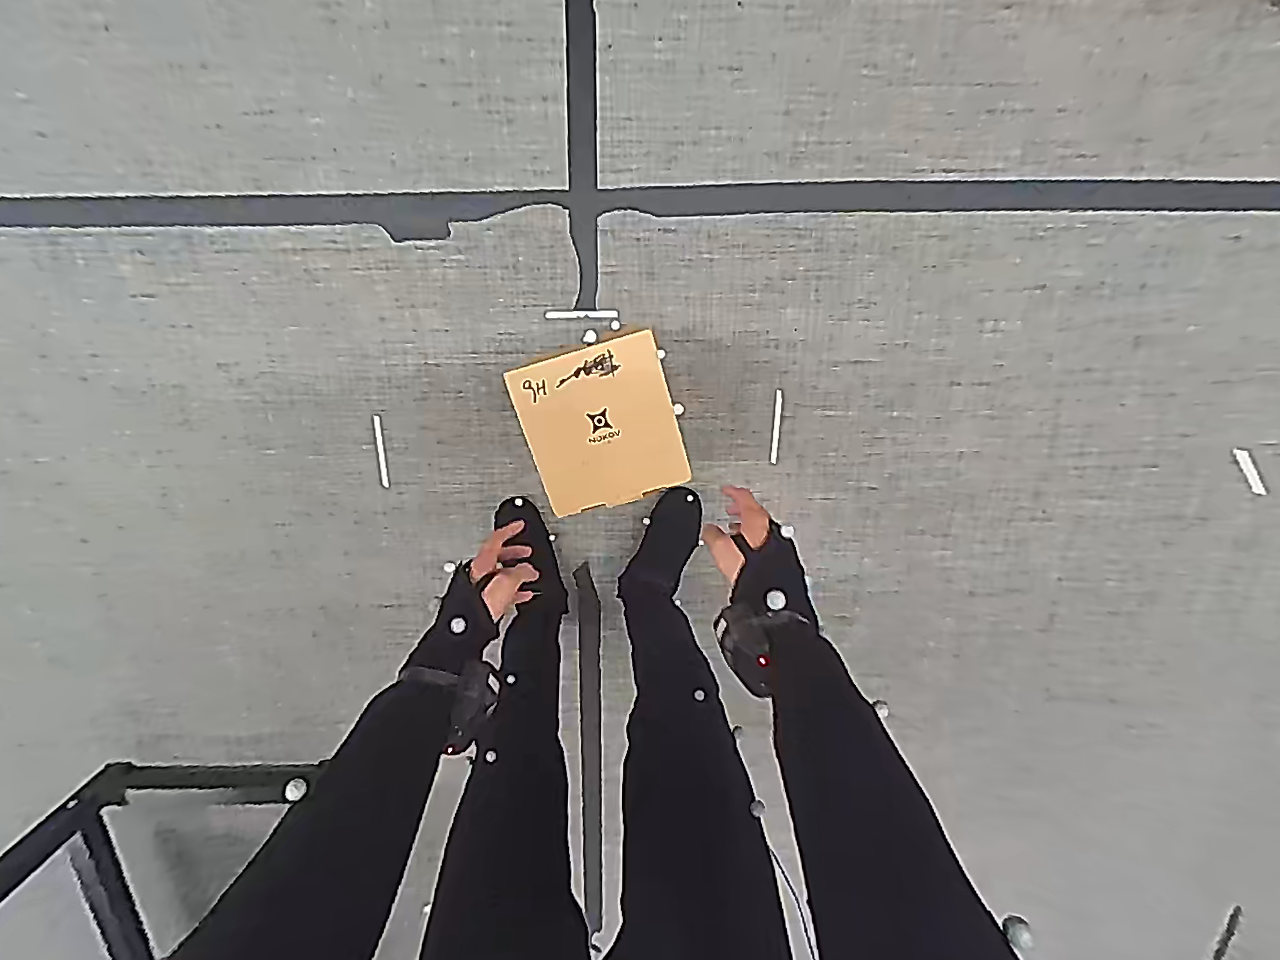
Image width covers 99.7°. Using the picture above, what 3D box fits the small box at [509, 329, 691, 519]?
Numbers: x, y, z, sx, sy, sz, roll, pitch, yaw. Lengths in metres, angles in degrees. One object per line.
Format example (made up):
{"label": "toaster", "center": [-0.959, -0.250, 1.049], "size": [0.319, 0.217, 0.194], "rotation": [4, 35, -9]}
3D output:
{"label": "small box", "center": [-0.041, -0.078, 0.673], "size": [0.168, 0.176, 0.179], "rotation": [-15, 108, 4]}
